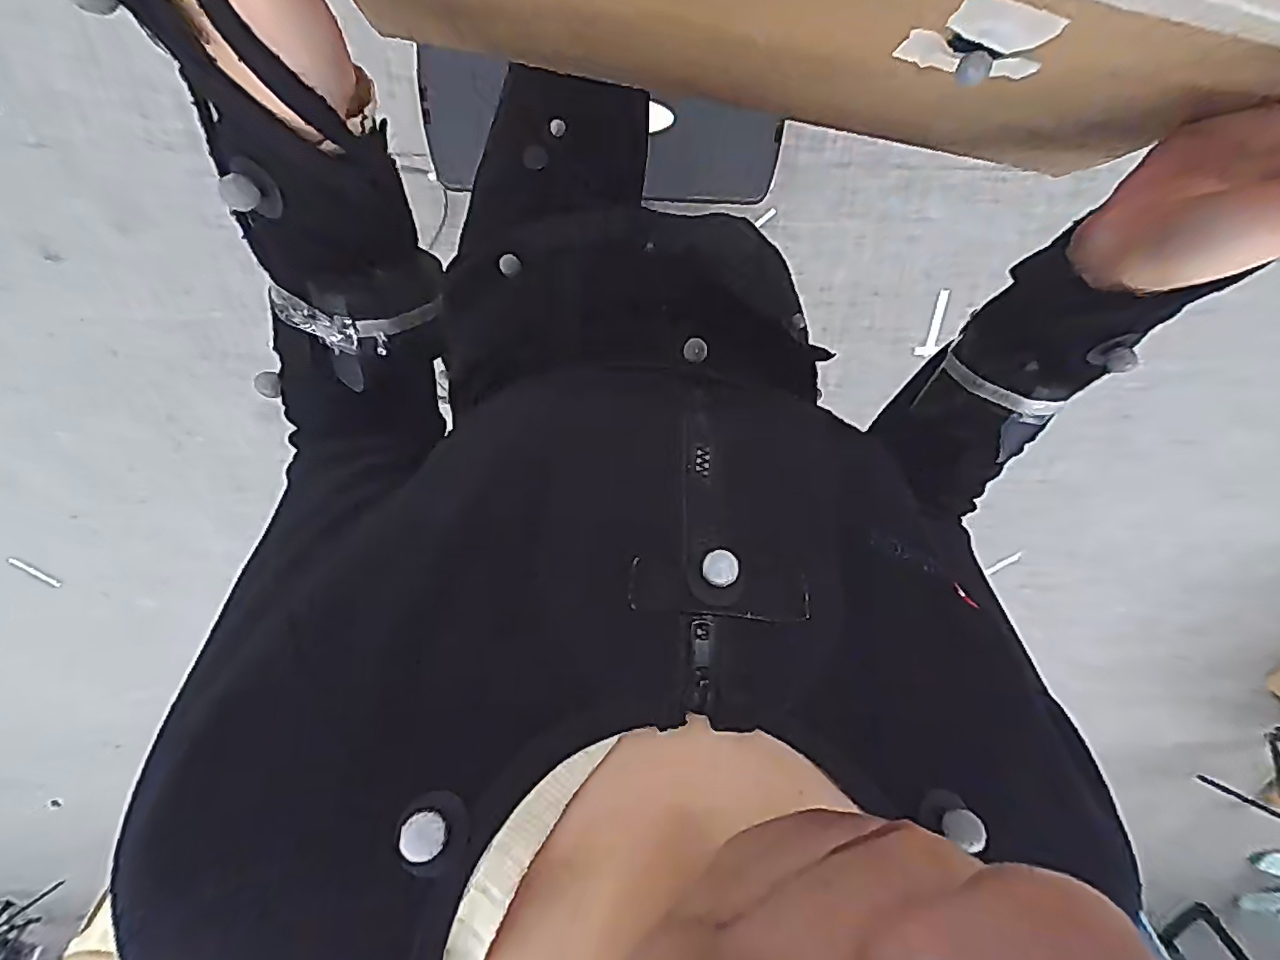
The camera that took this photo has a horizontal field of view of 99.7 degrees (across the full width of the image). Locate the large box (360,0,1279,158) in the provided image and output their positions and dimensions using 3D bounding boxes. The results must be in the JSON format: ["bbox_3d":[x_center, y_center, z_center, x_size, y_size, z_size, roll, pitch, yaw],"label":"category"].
[{"bbox_3d":[0.089,-0.328,0.132,0.408,0.320,0.320,6,104,-7],"label":"large box"}]
